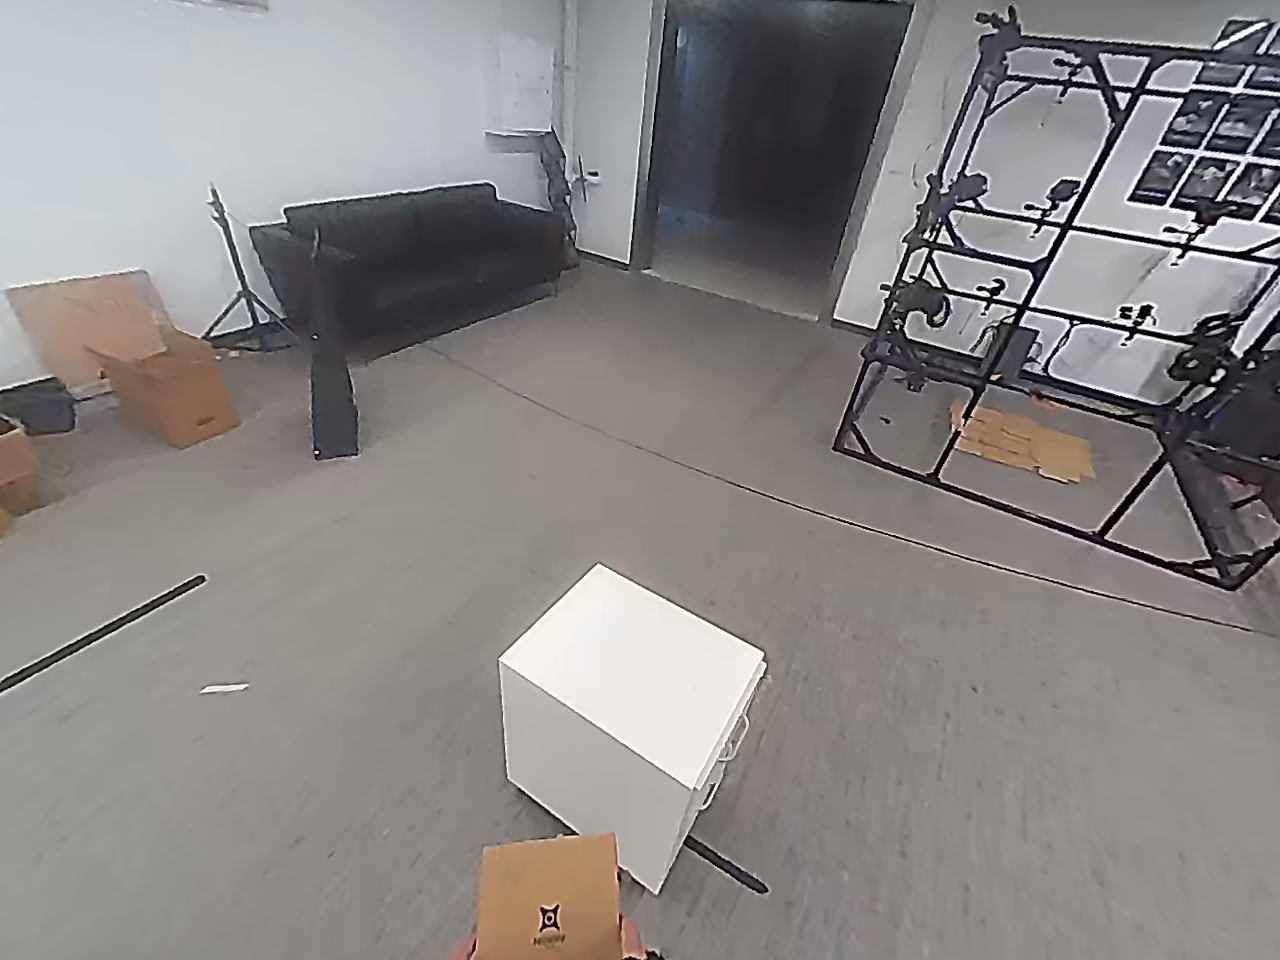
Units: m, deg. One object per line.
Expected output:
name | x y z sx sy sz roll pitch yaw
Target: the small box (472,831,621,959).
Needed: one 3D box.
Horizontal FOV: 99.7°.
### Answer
small box | -0.109 0.564 0.682 0.168 0.176 0.179 -4 51 -4
